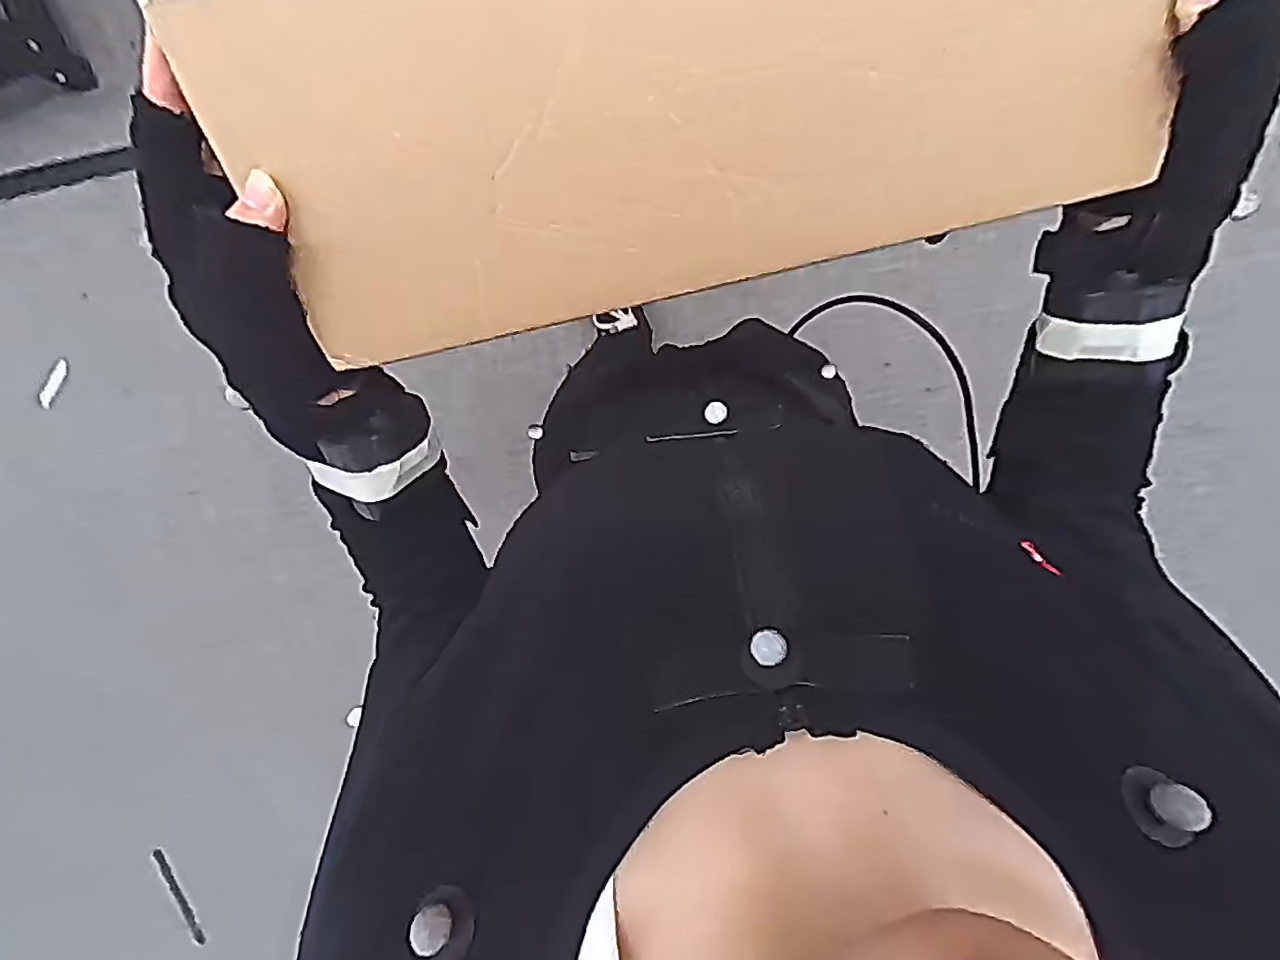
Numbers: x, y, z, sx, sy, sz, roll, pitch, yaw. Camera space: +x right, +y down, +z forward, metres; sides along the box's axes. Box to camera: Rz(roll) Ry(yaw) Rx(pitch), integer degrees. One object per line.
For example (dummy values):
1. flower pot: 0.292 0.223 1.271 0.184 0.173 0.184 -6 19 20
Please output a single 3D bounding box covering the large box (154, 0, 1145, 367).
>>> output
1. large box: -0.004 -0.306 0.325 0.408 0.320 0.320 -12 120 3
